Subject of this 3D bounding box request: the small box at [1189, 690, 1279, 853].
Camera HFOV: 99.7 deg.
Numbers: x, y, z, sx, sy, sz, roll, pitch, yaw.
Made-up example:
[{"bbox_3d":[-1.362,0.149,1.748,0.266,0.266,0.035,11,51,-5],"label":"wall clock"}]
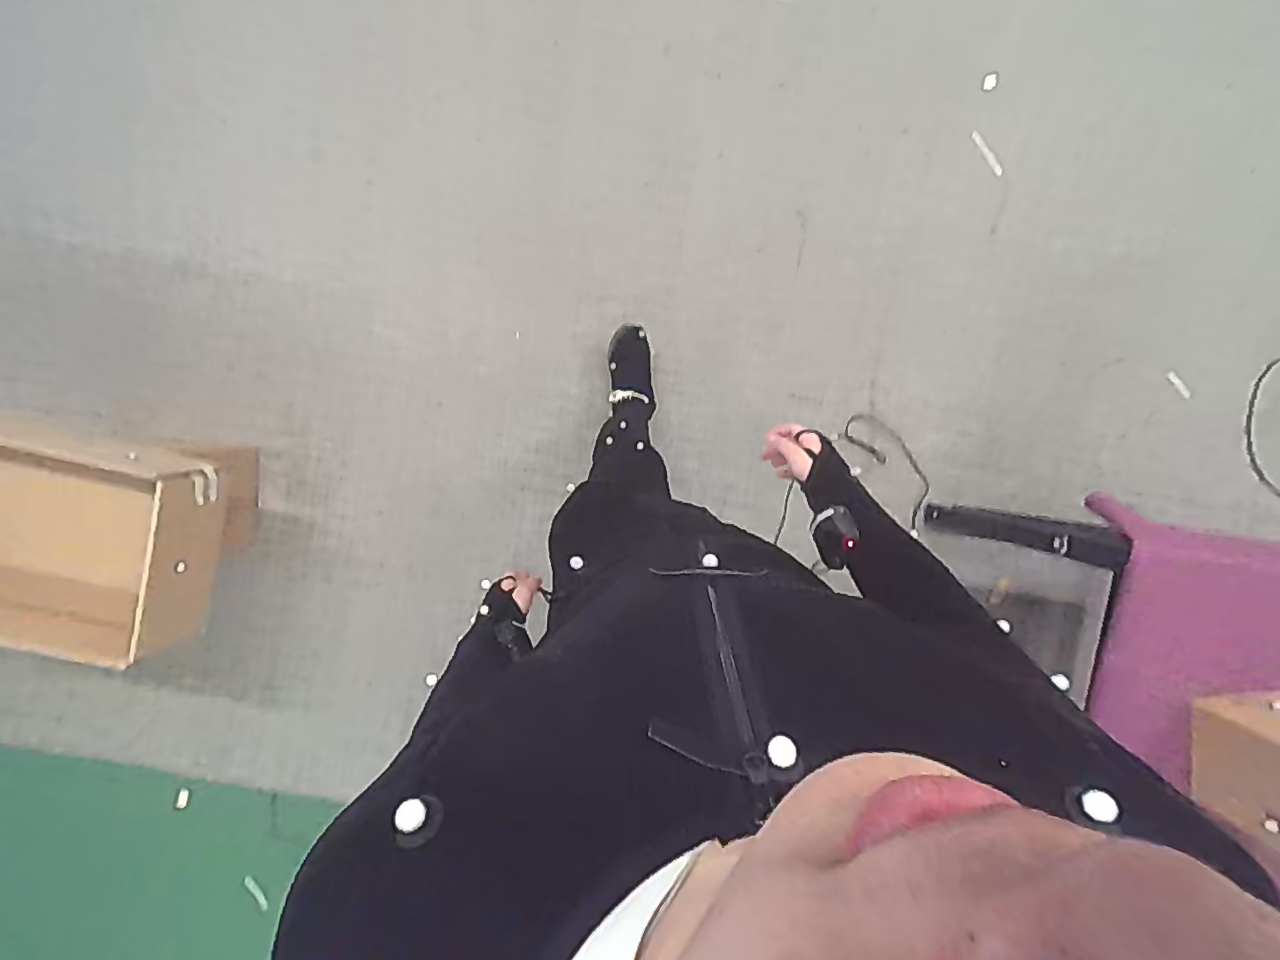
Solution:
[{"bbox_3d":[1.008,0.451,0.834,0.168,0.176,0.179,-5,94,-2],"label":"small box"}]
